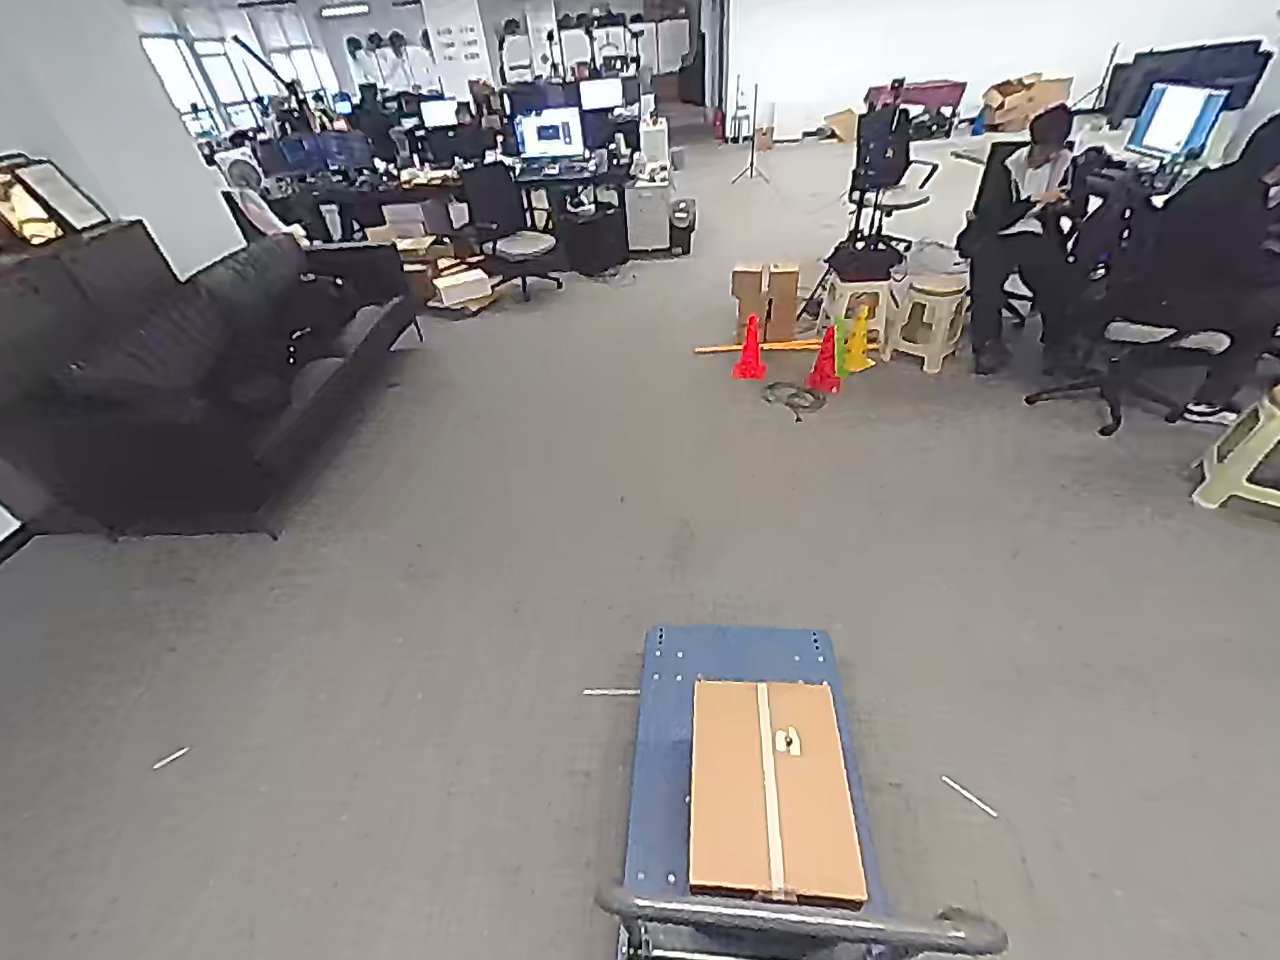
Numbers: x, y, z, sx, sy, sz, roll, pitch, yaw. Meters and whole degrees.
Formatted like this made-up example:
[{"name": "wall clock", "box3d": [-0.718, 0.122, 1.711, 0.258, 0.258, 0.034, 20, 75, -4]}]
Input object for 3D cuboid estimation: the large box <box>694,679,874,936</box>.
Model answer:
[{"name": "large box", "box3d": [0.283, 0.707, 1.190, 0.320, 0.320, 0.408, 0, 39, 7]}]
